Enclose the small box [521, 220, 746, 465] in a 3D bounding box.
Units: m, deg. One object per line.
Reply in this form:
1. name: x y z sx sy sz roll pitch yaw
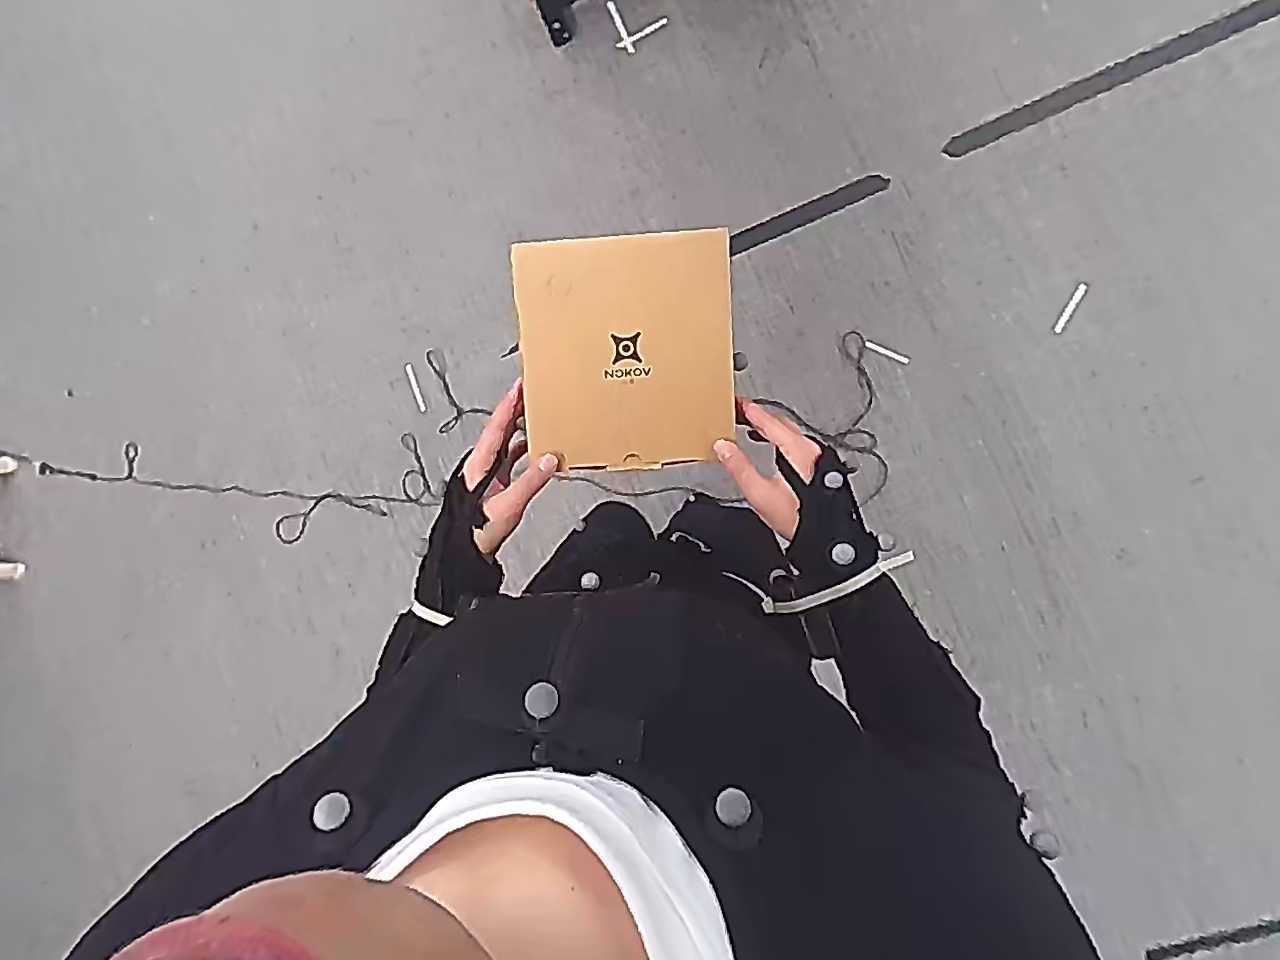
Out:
1. small box: -0.004 -0.111 0.484 0.168 0.176 0.179 -3 98 0
